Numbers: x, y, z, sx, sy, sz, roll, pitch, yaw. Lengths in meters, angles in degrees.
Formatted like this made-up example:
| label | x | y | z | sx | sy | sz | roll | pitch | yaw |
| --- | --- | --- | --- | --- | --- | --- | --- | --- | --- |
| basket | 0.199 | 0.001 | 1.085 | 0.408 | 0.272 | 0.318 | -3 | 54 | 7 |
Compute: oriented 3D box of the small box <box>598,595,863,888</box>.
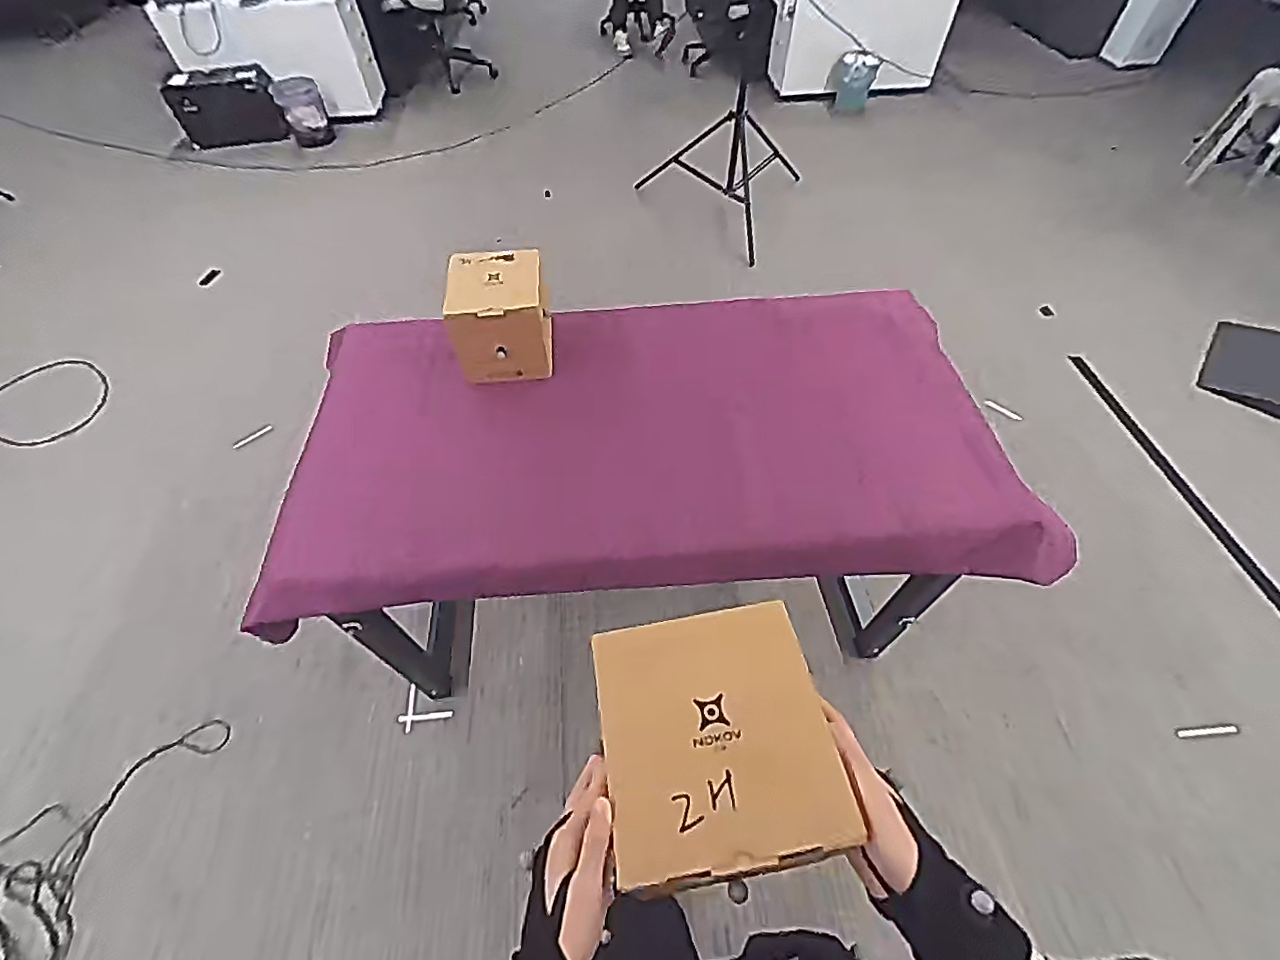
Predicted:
| label | x | y | z | sx | sy | sz | roll | pitch | yaw |
| --- | --- | --- | --- | --- | --- | --- | --- | --- | --- |
| small box | 0.060 | 0.225 | 0.463 | 0.168 | 0.176 | 0.179 | -10 | 50 | -1 |

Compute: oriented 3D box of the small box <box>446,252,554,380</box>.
| label | x | y | z | sx | sy | sz | roll | pitch | yaw |
| --- | --- | --- | --- | --- | --- | --- | --- | --- | --- |
| small box | -0.257 | -0.306 | 1.034 | 0.168 | 0.176 | 0.179 | -5 | 57 | -3 |
